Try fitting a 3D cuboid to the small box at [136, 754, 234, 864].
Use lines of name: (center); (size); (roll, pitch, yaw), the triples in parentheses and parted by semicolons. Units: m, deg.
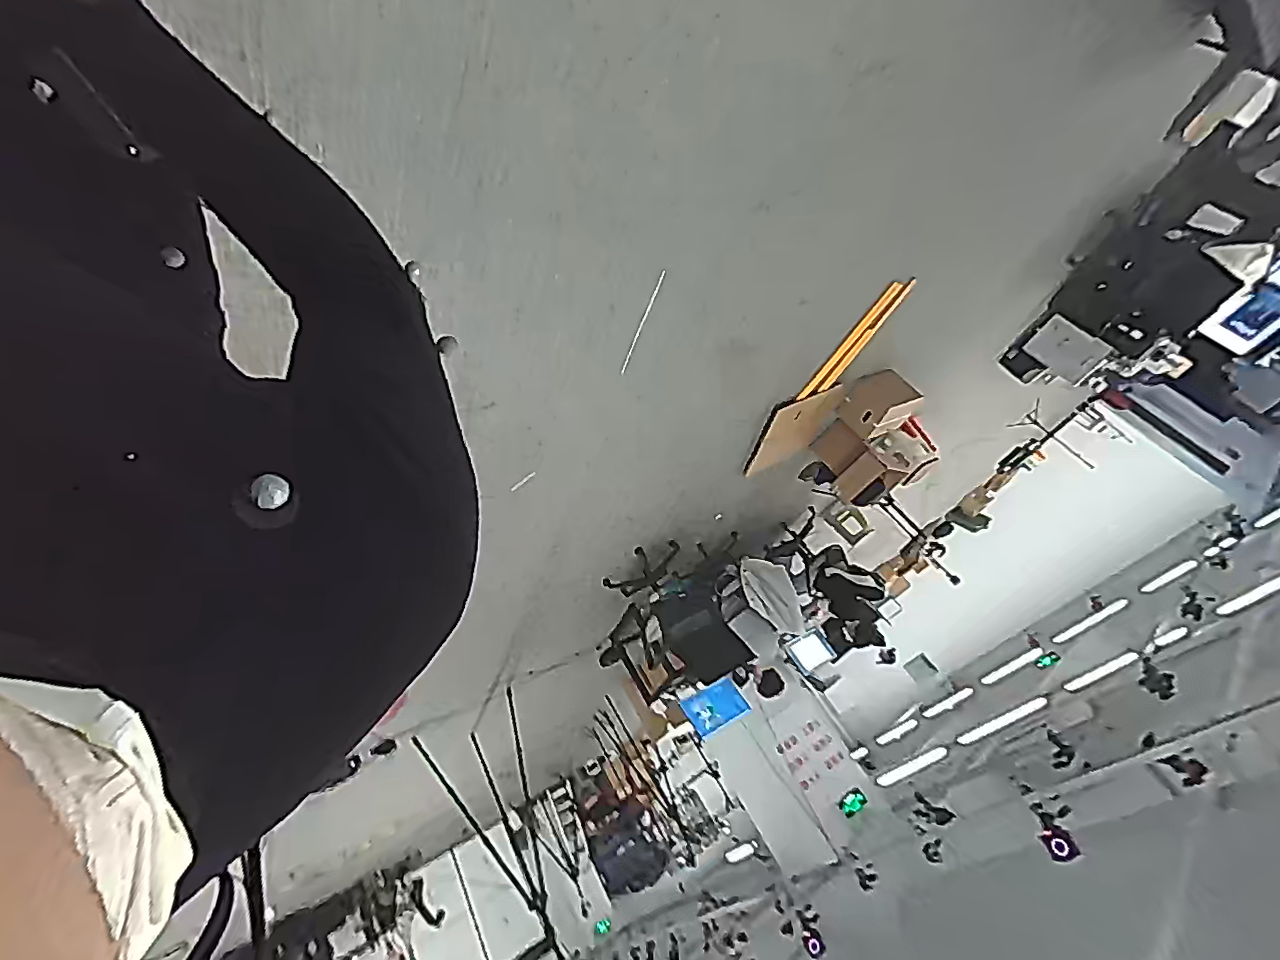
small box: (-1.212, 0.871, 1.441); (0.179, 0.176, 0.168); (-13, 145, -36)
